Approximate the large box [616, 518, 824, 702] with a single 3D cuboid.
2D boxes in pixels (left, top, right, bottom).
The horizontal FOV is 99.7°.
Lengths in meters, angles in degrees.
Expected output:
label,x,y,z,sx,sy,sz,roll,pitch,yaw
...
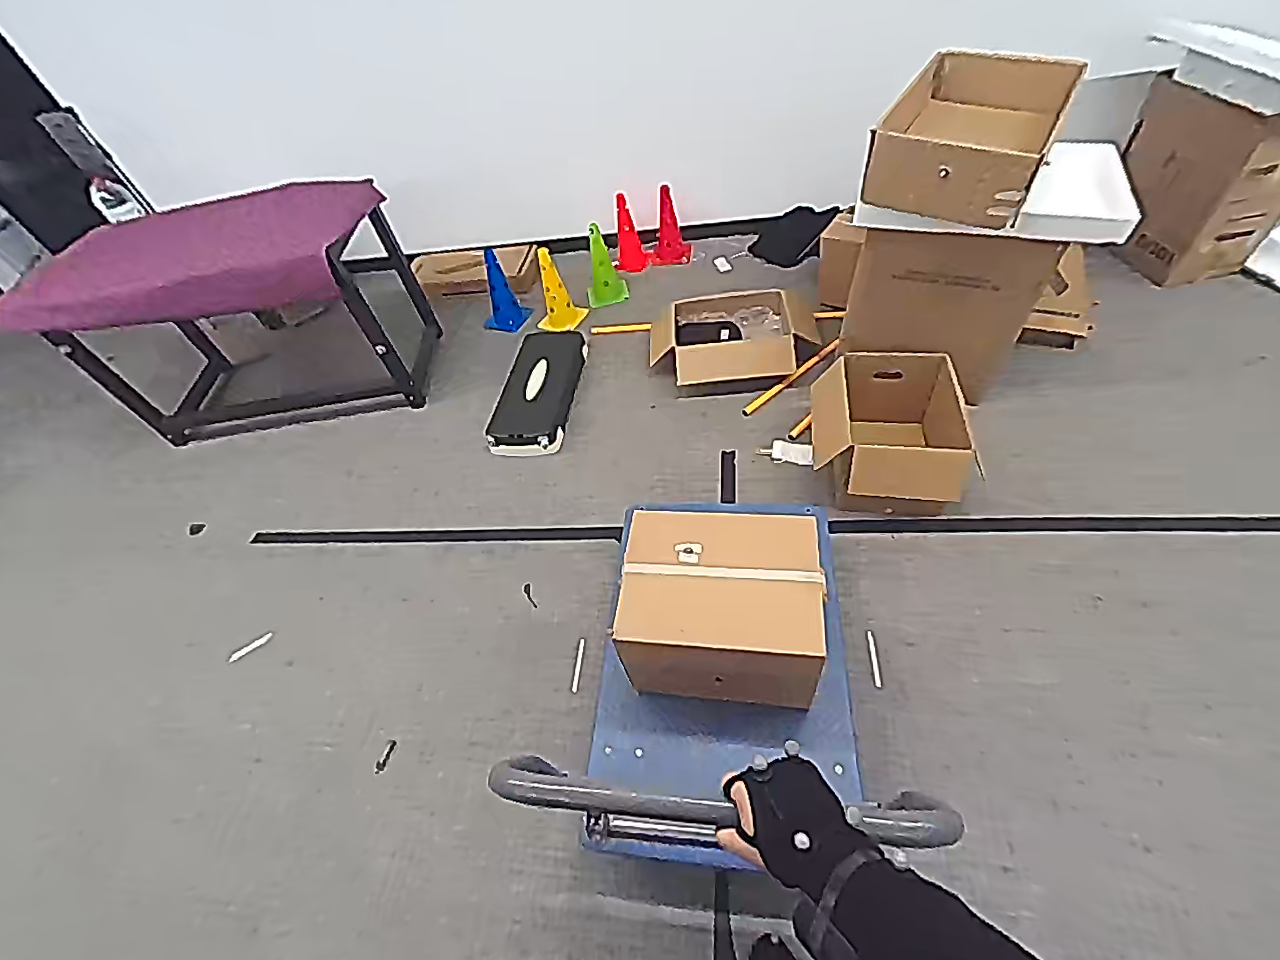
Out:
label,x,y,z,sx,sy,sz,roll,pitch,yaw
large box,0.187,0.298,1.239,0.408,0.320,0.320,0,50,12
